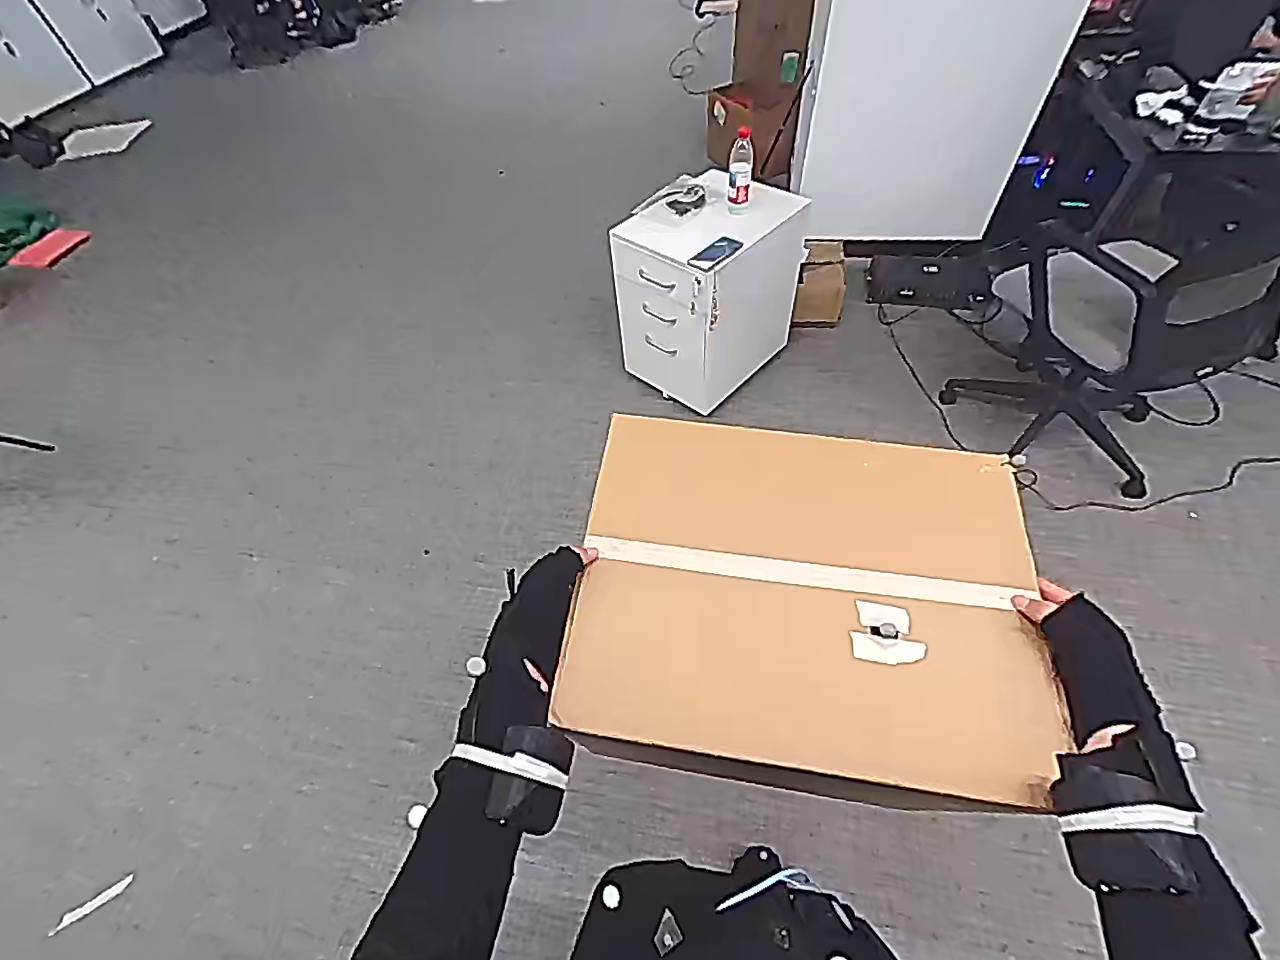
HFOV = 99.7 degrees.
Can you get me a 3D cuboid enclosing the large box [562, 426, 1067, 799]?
[{"bbox_3d":[0.151,0.165,0.628,0.408,0.320,0.320,7,61,5],"label":"large box"}]
